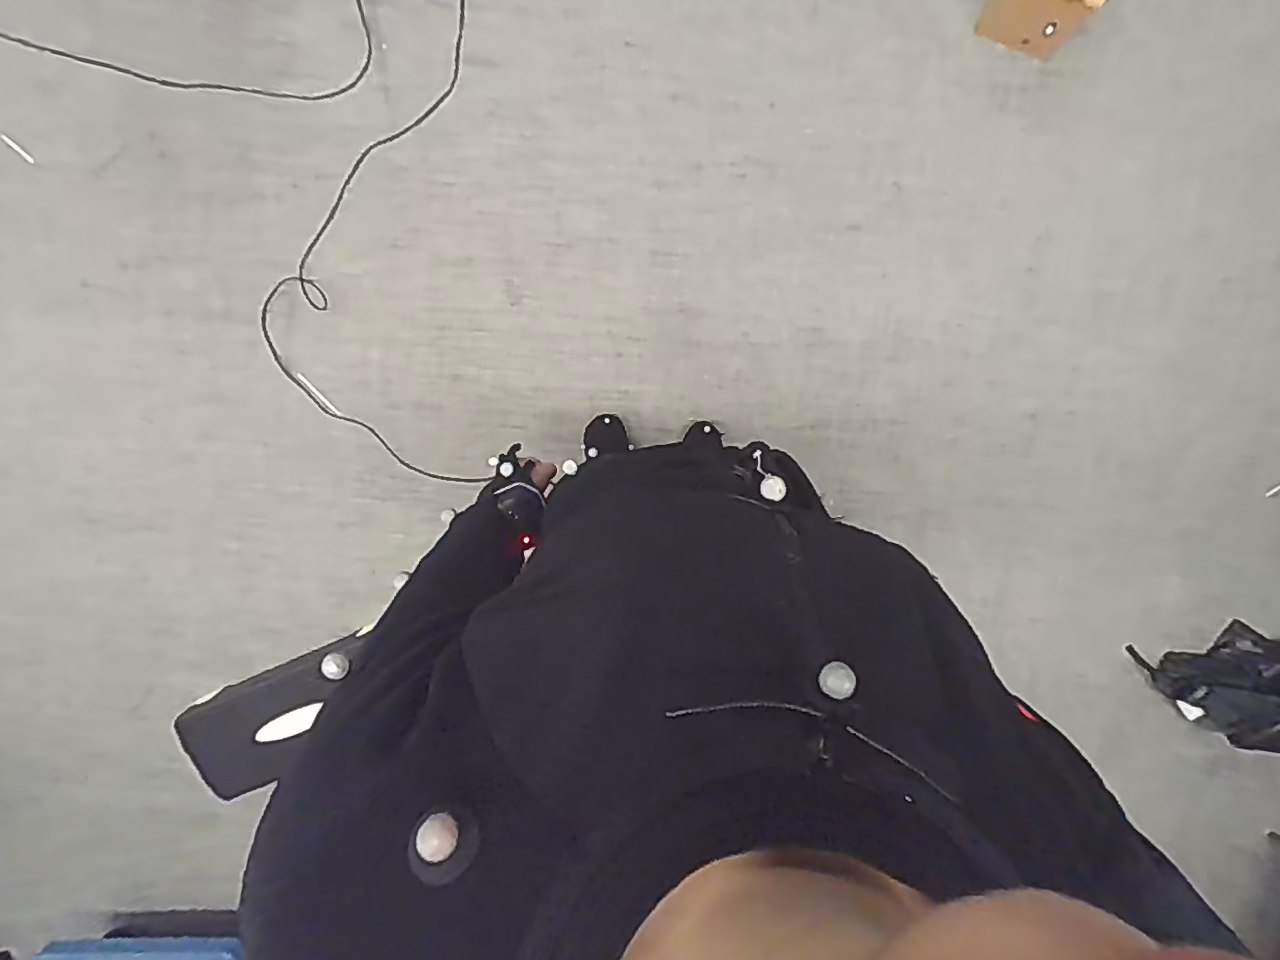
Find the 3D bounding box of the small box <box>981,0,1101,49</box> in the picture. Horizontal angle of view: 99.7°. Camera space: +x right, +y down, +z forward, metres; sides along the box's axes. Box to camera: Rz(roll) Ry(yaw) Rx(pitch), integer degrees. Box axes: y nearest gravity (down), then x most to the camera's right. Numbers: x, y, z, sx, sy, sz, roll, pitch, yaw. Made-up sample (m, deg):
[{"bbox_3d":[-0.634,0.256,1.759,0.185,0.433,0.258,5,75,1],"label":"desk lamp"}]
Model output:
[{"bbox_3d":[0.831,-1.026,1.086,0.168,0.176,0.179,20,99,-2],"label":"small box"}]
